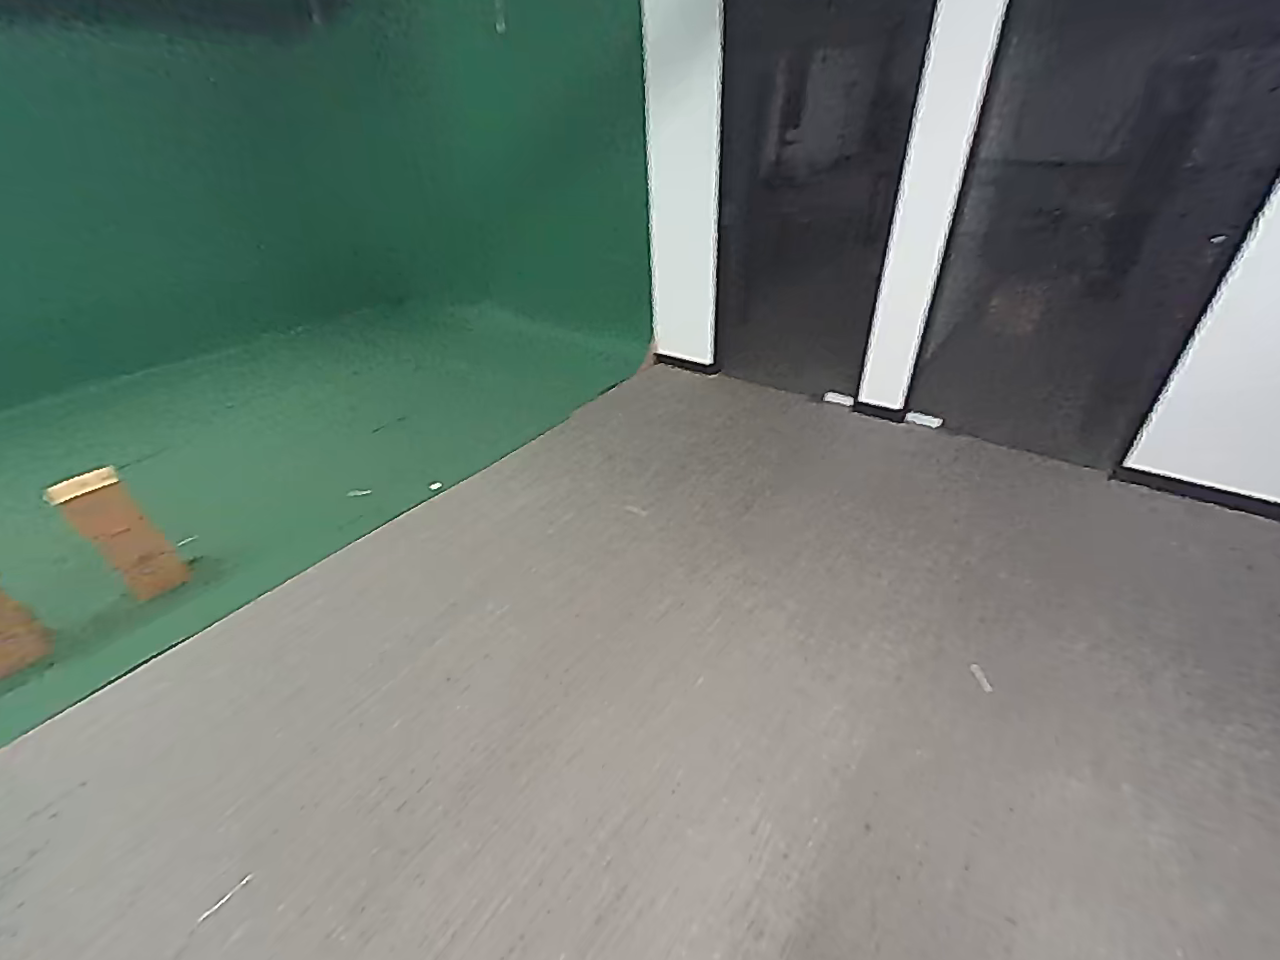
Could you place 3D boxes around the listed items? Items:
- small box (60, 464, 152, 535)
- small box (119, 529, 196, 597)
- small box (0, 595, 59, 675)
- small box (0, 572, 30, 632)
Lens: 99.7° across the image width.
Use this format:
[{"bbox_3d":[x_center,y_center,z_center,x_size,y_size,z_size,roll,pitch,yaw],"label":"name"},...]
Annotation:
[{"bbox_3d":[-1.966,0.074,1.994,0.168,0.176,0.179,25,44,34],"label":"small box"},{"bbox_3d":[-1.943,0.337,2.189,0.168,0.176,0.179,27,45,35],"label":"small box"},{"bbox_3d":[-2.210,0.547,1.906,0.168,0.176,0.179,28,45,36],"label":"small box"},{"bbox_3d":[-2.210,0.419,1.806,0.168,0.176,0.179,21,42,31],"label":"small box"}]
